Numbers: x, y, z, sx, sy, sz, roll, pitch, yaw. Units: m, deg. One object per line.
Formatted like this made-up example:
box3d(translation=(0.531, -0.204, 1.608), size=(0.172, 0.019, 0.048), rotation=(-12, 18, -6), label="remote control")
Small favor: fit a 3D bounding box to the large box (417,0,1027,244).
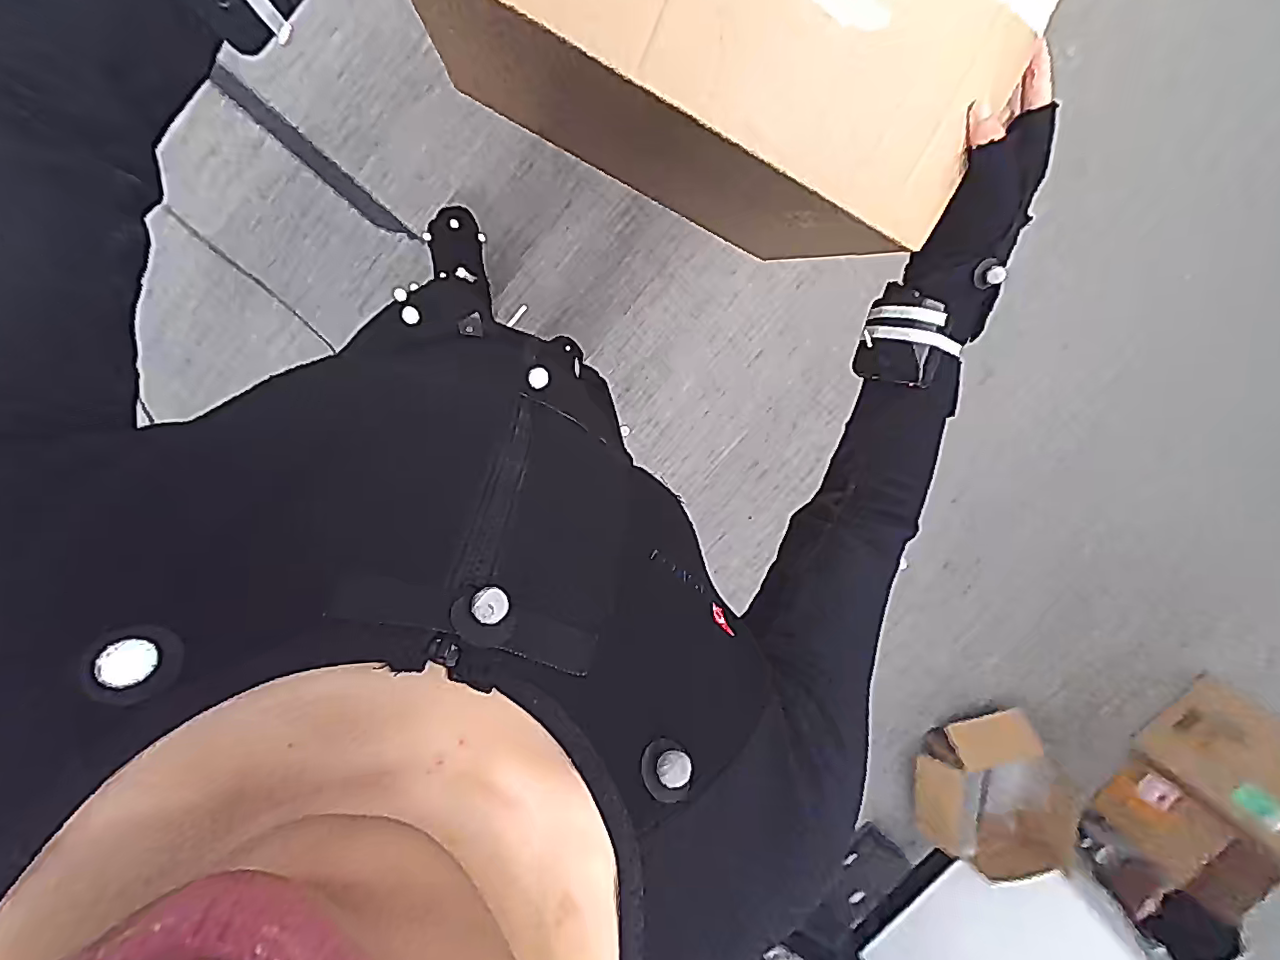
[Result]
box3d(translation=(0.060, -0.441, 0.458), size=(0.408, 0.320, 0.320), rotation=(20, 107, -17), label="large box")
